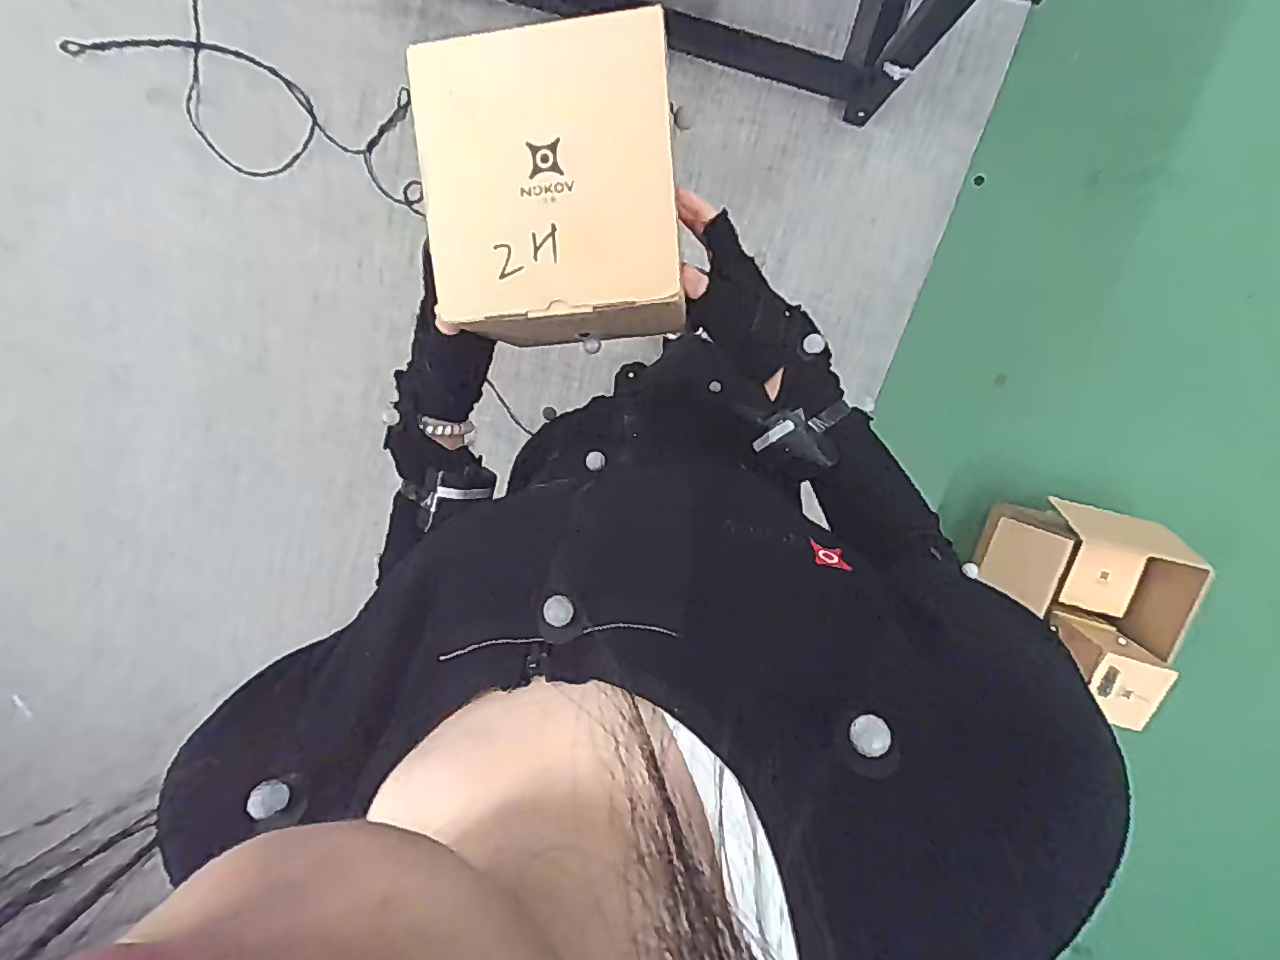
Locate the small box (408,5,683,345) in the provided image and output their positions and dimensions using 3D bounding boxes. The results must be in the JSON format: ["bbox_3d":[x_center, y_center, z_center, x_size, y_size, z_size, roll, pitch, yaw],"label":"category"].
[{"bbox_3d":[-0.053,-0.209,0.424,0.168,0.176,0.179,-4,98,7],"label":"small box"}]
